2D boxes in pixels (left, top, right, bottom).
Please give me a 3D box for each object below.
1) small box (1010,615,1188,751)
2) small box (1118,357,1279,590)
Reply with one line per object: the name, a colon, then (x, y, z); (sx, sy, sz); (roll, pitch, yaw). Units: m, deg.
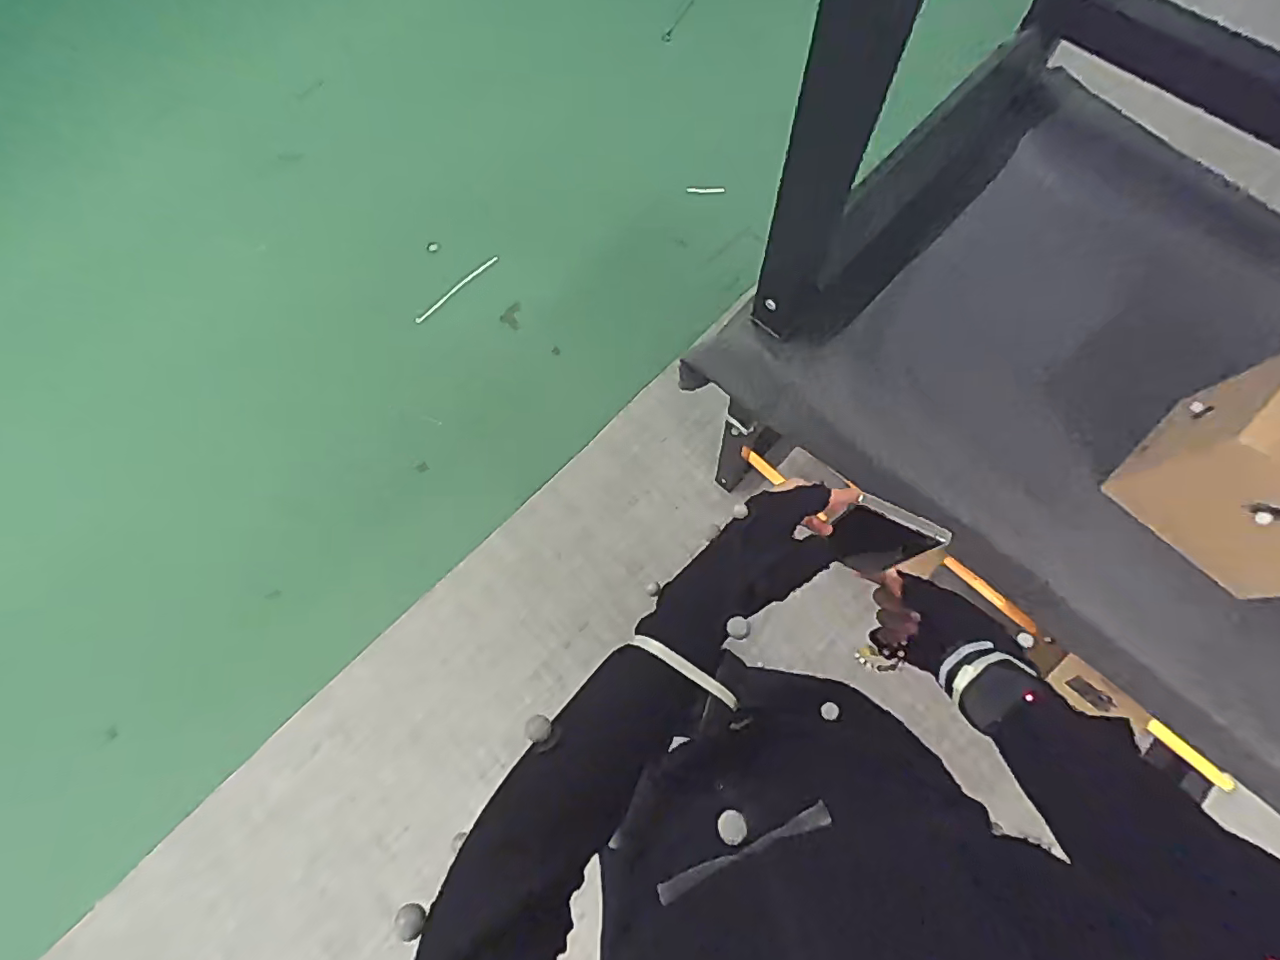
small box: (0.867, 0.385, 1.049); (0.179, 0.176, 0.168); (-41, 75, -7)
small box: (0.646, -0.010, 0.532); (0.168, 0.176, 0.179); (-42, 75, -7)
